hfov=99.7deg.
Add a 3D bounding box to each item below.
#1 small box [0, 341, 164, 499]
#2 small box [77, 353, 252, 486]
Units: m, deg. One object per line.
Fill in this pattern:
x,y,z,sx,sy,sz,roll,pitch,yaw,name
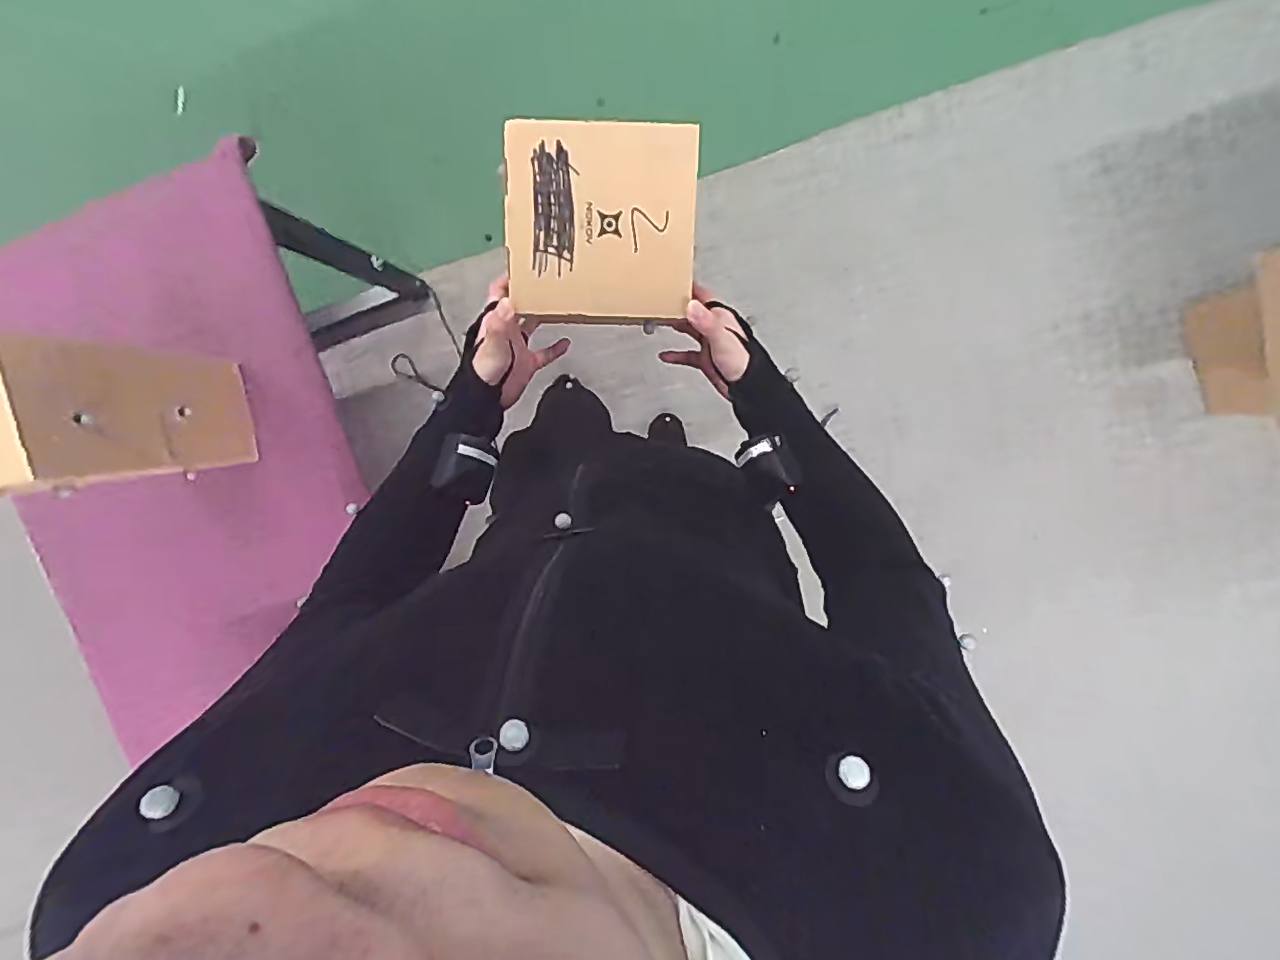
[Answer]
-0.764,-0.074,0.683,0.168,0.176,0.179,-10,98,5,small box
-0.752,-0.096,0.845,0.168,0.176,0.179,-7,97,5,small box
